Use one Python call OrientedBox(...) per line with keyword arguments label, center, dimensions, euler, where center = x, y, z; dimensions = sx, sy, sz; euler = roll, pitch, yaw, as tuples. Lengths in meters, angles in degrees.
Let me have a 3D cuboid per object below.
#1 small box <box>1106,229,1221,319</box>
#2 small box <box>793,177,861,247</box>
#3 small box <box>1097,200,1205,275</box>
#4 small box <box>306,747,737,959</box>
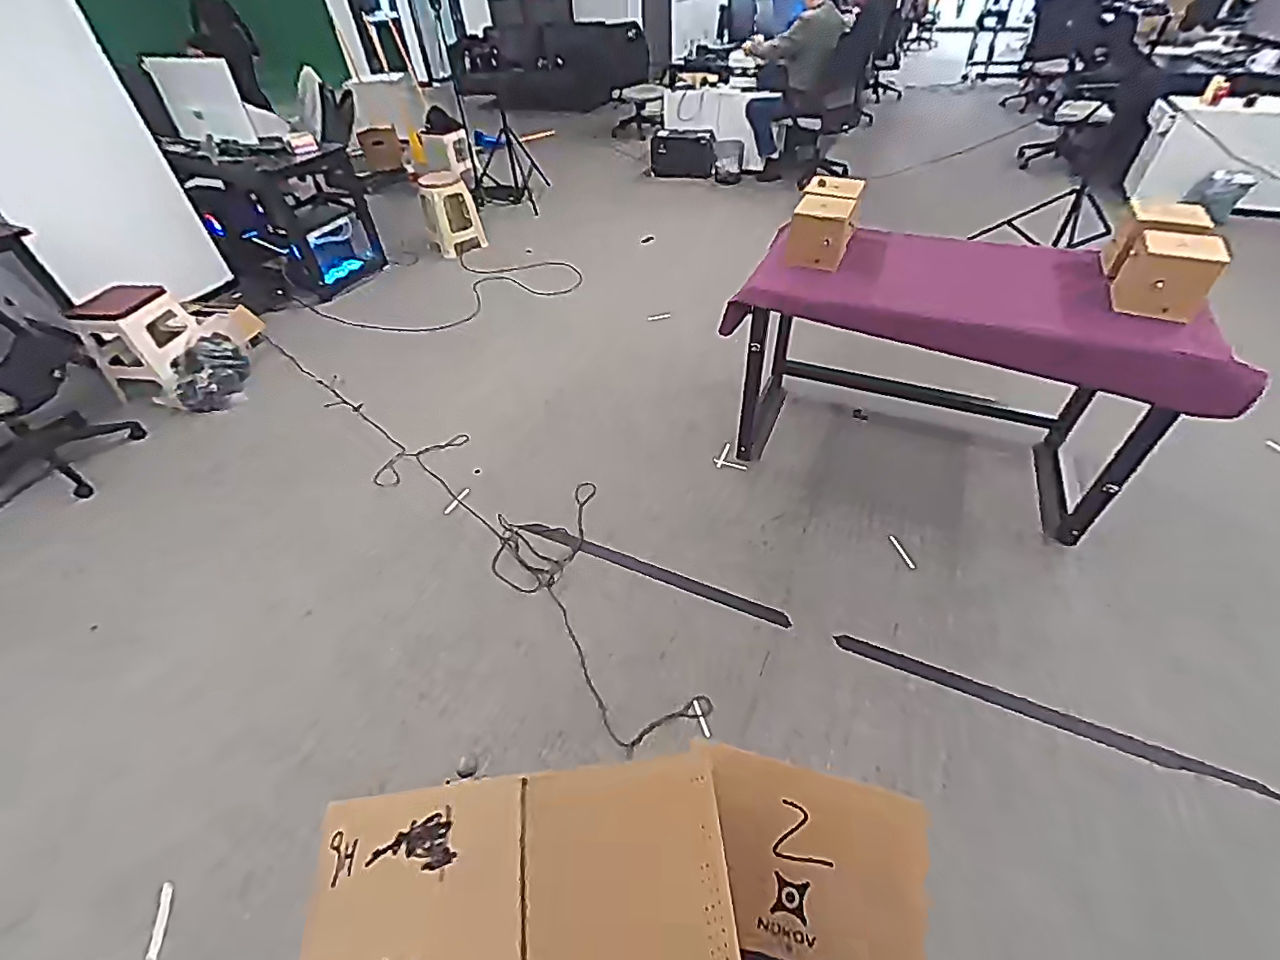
OrientedBox(label="small box", center=(1.401, -0.555, 1.460), dimensions=(0.168, 0.176, 0.179), euler=(19, 48, 23))
OrientedBox(label="small box", center=(0.647, -0.934, 1.885), dimensions=(0.179, 0.176, 0.168), euler=(19, 51, 19))
OrientedBox(label="small box", center=(1.493, -0.705, 1.597), dimensions=(0.179, 0.176, 0.168), euler=(17, 49, 19))
OrientedBox(label="small box", center=(-0.055, 0.257, 0.294), dimensions=(0.168, 0.176, 0.179), euler=(-24, 60, 27))
